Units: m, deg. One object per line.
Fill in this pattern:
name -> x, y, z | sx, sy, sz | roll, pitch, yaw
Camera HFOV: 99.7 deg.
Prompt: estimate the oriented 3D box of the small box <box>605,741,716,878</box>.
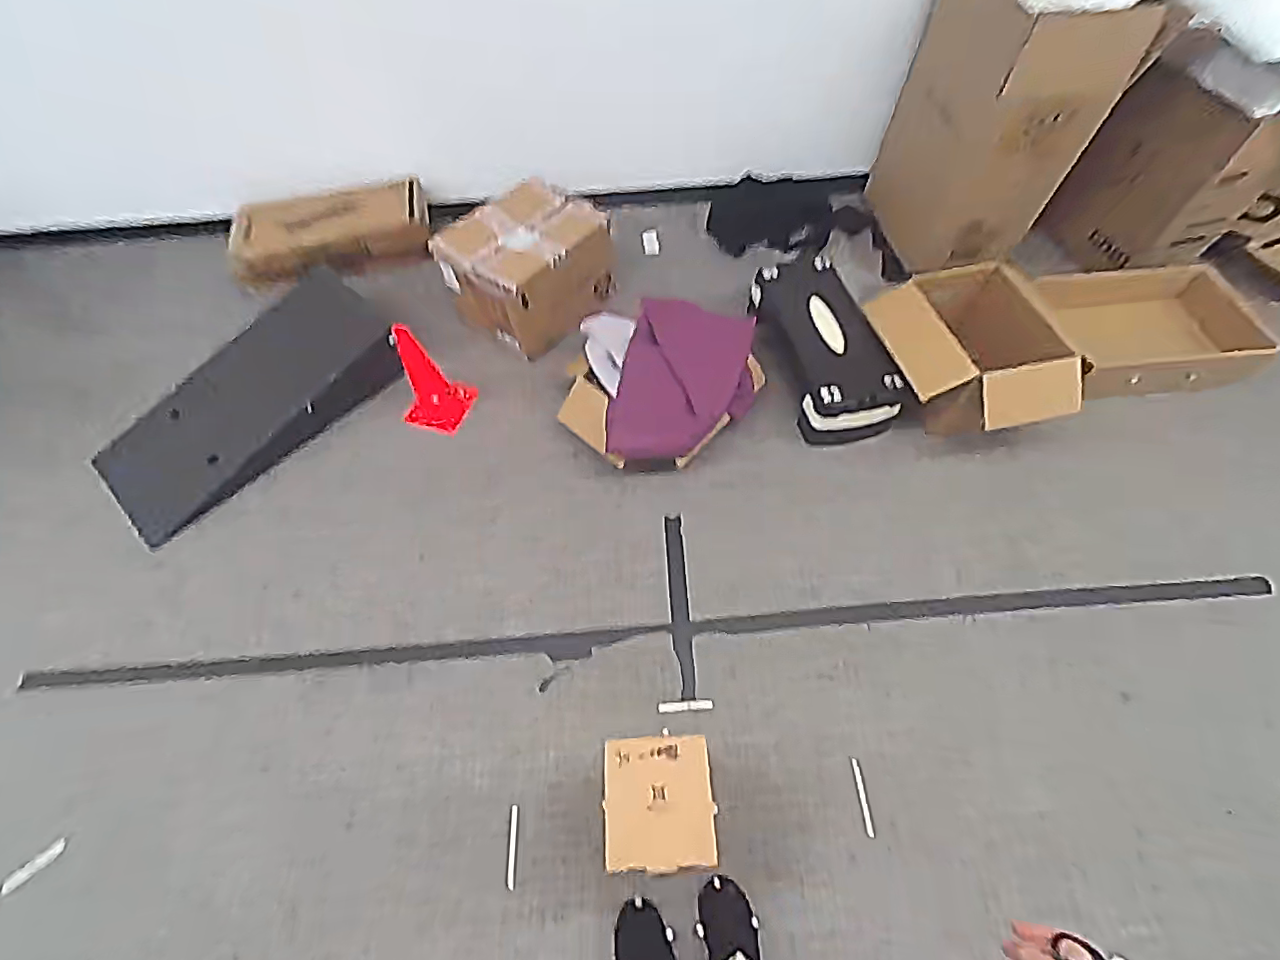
small box -> 0.032, 0.536, 0.892 | 0.168, 0.176, 0.179 | -3, 59, 1
